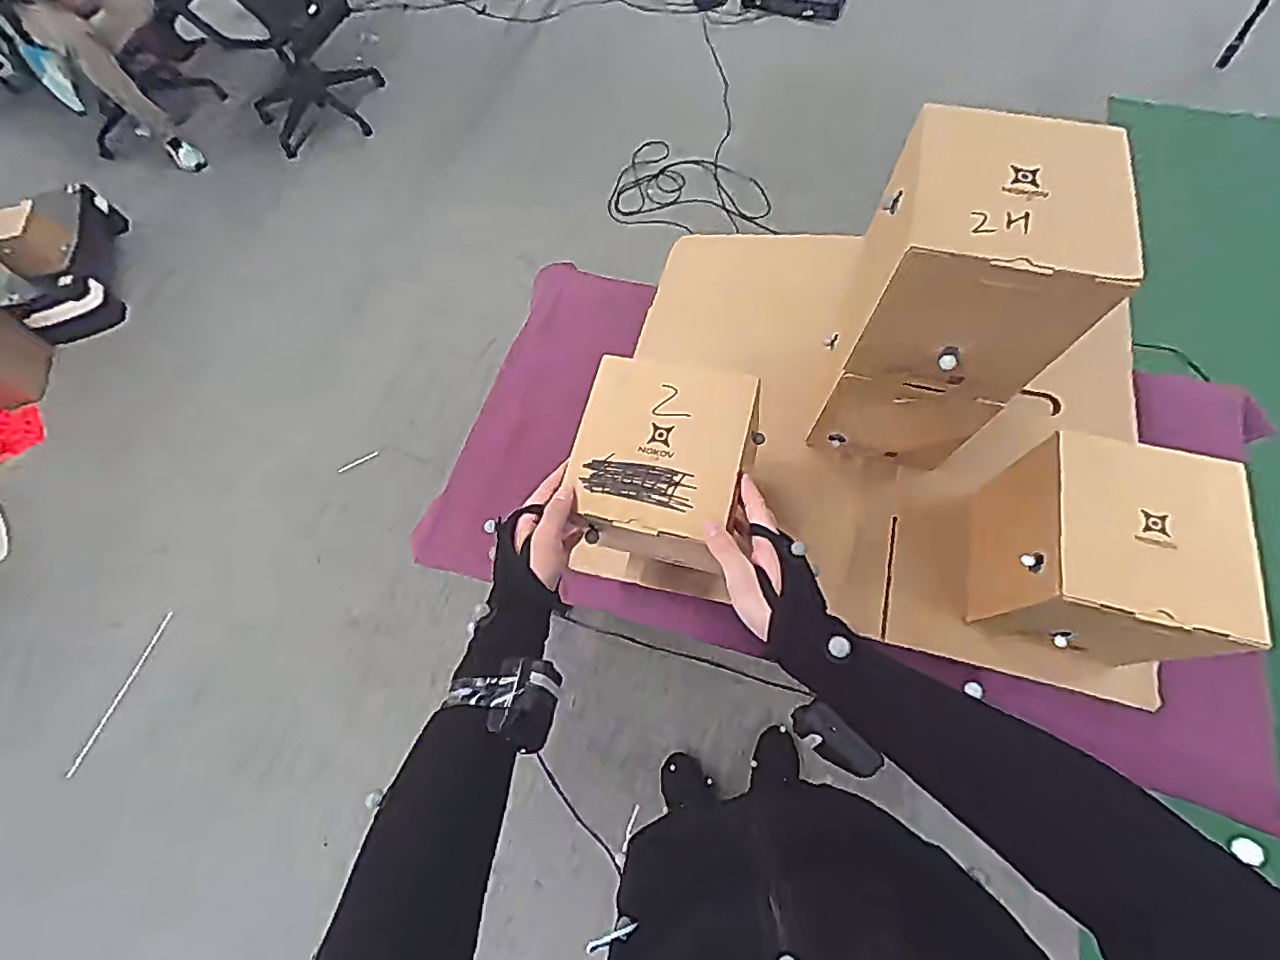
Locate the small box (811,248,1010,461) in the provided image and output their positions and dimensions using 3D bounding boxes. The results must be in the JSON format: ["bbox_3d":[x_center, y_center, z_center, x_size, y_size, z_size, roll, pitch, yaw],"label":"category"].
[{"bbox_3d":[0.316,-0.142,0.653,0.168,0.176,0.179,13,68,7],"label":"small box"}]

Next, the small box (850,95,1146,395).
[{"bbox_3d":[0.310,-0.207,0.502,0.168,0.176,0.179,13,70,8],"label":"small box"}]

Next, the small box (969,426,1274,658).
[{"bbox_3d":[0.469,0.073,0.559,0.168,0.176,0.179,13,70,8],"label":"small box"}]
